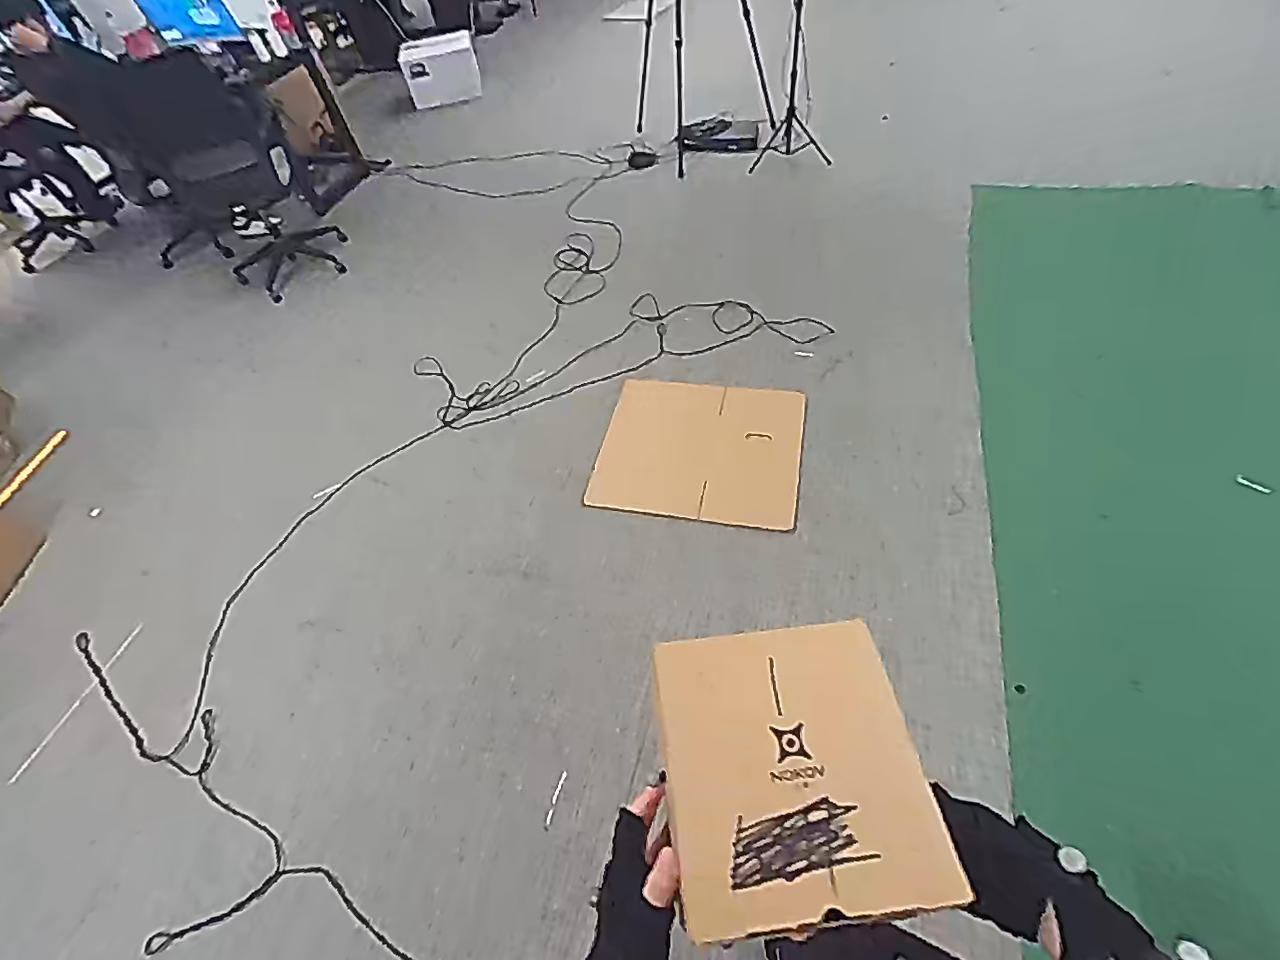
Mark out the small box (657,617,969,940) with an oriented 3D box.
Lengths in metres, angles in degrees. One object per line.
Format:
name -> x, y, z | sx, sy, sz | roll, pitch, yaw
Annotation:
small box -> 0.106, 0.229, 0.424 | 0.168, 0.176, 0.179 | -6, 53, -3
